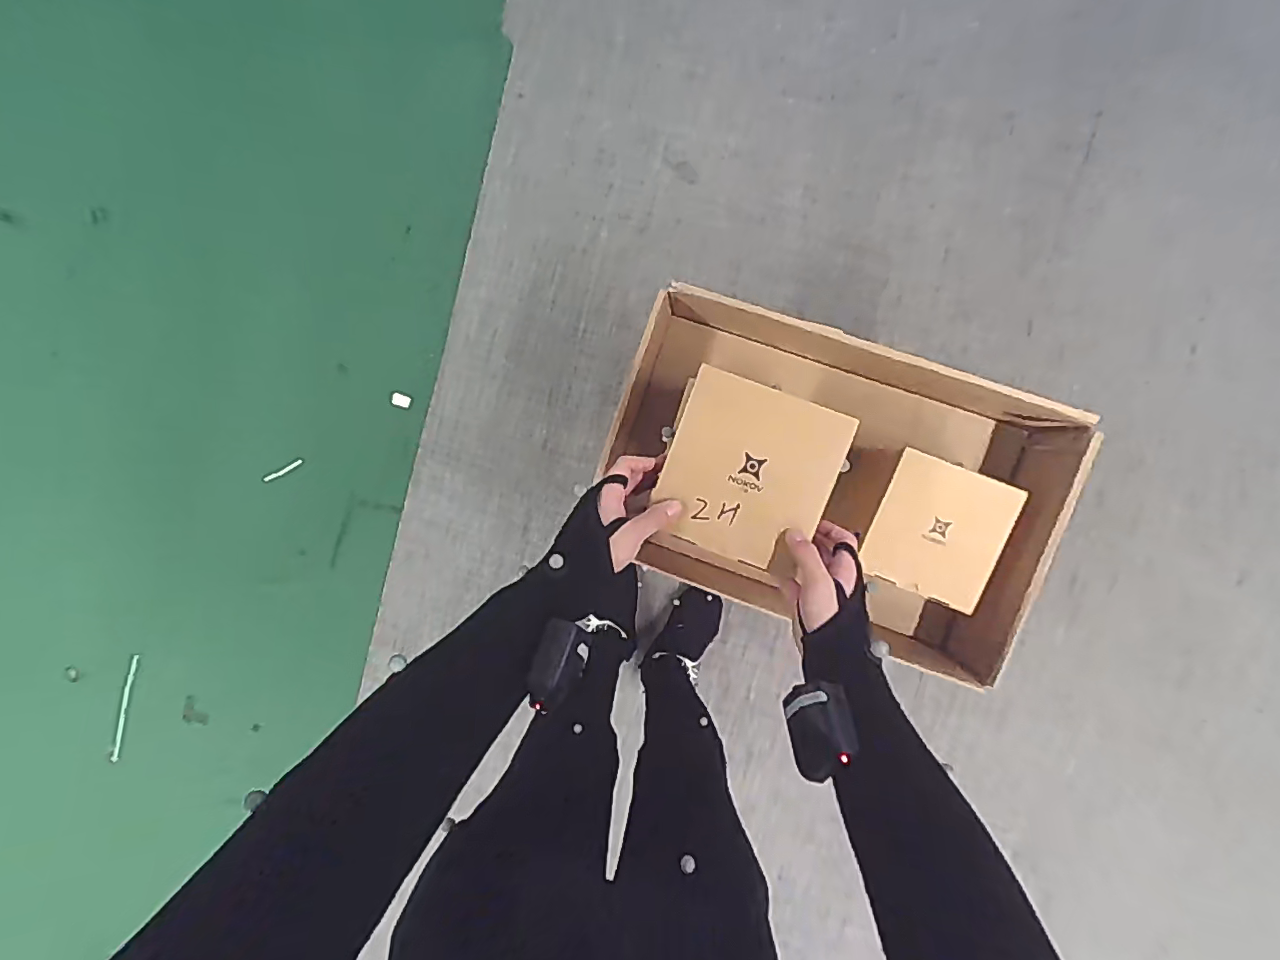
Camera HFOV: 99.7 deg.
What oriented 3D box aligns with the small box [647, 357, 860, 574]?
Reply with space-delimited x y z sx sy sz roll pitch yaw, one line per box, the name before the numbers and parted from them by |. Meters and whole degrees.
small box | 0.116 -0.020 0.616 0.168 0.176 0.179 21 97 3
